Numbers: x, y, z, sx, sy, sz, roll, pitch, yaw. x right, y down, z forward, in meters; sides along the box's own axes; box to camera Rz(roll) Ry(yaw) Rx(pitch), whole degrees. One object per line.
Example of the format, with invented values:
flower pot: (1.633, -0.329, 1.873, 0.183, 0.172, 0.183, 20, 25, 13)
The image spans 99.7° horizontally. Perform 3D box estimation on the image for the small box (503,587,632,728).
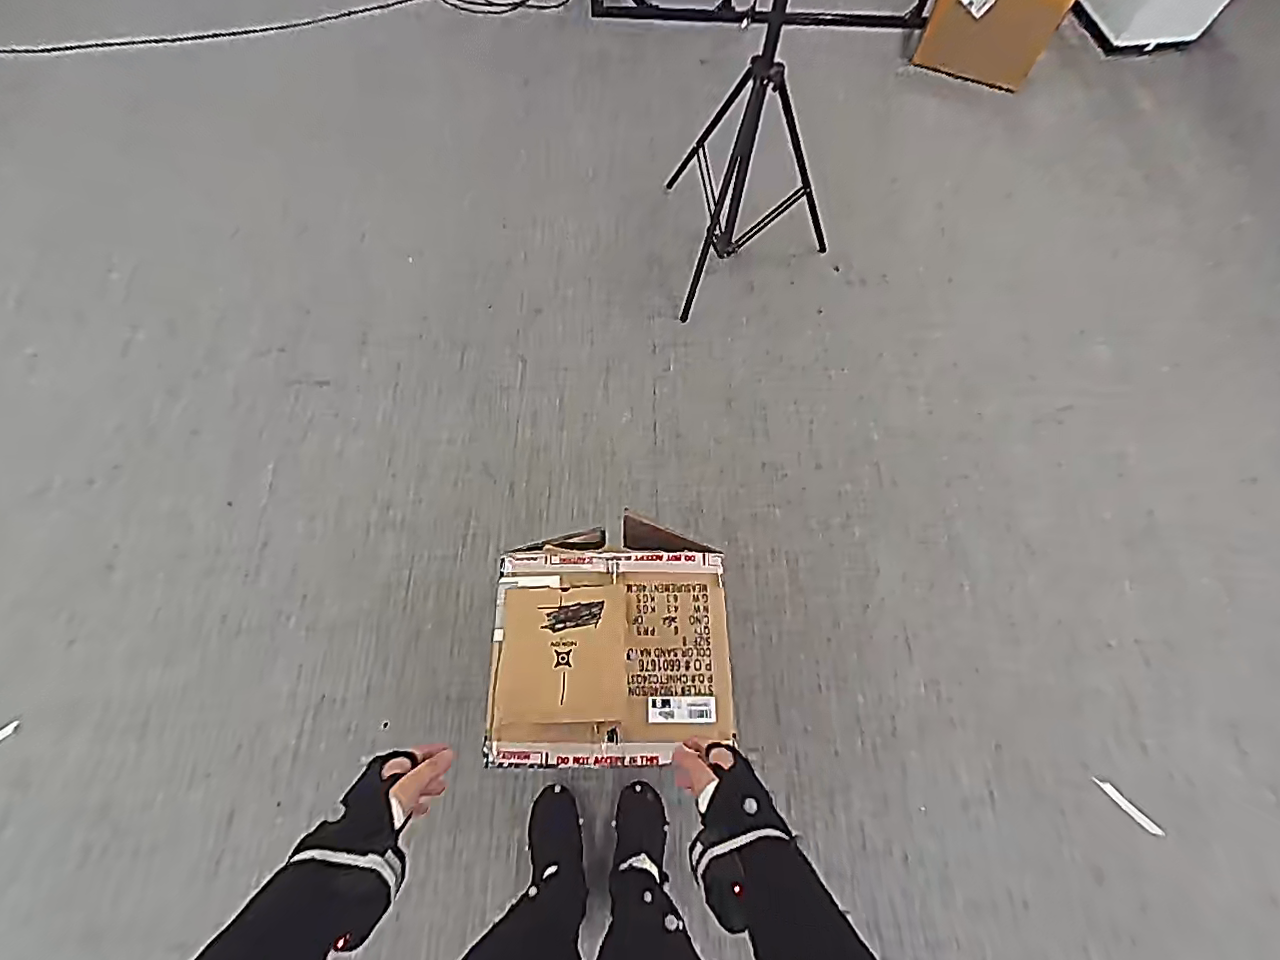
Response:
small box: (-0.097, 0.260, 0.792, 0.168, 0.176, 0.179, -2, 71, -1)
